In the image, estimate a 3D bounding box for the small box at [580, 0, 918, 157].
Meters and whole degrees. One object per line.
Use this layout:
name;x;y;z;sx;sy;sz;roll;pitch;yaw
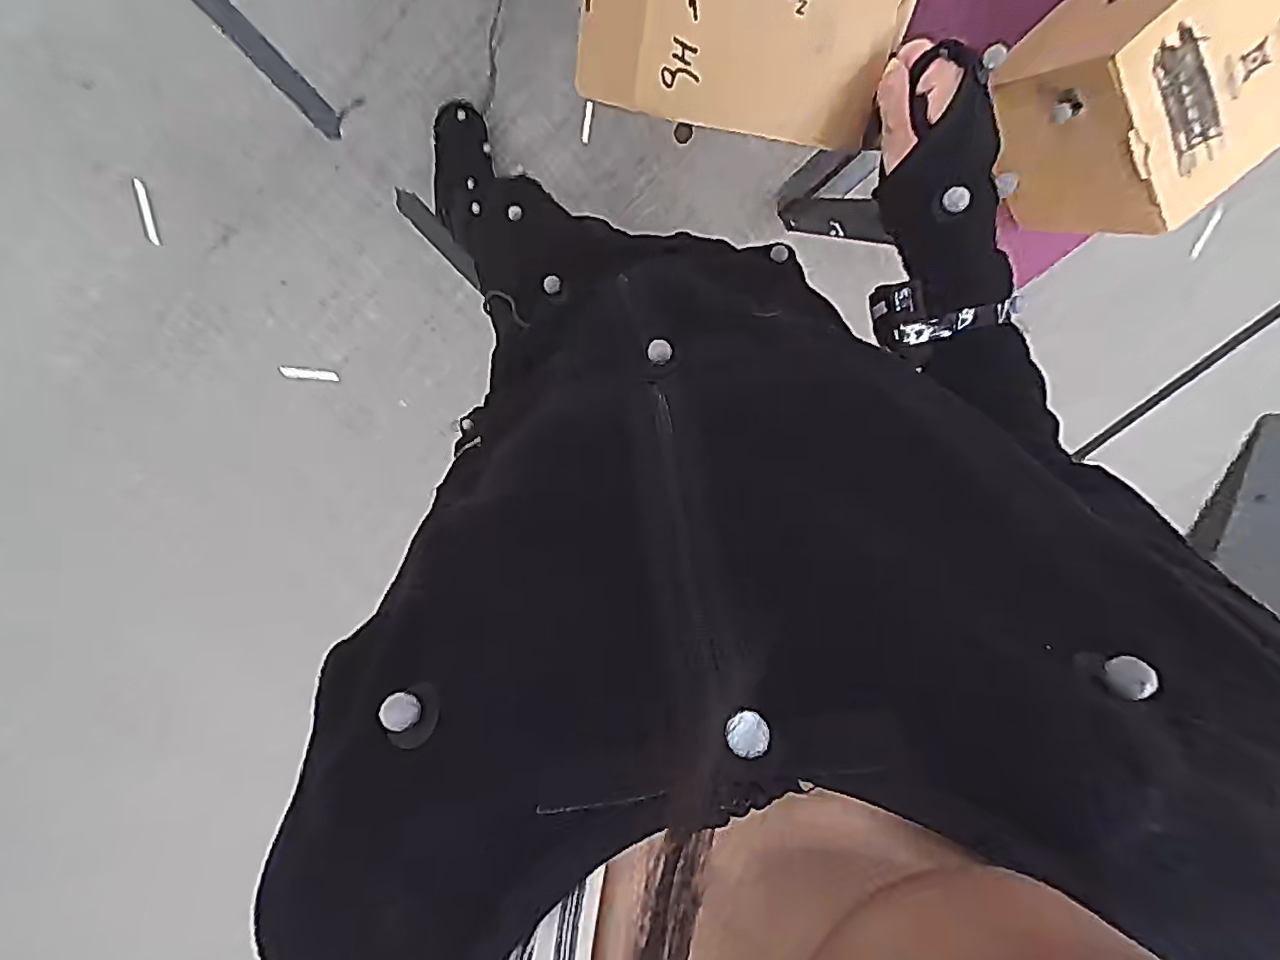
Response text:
small box;0.070;-0.343;0.373;0.179;0.176;0.168;-3;127;-21
